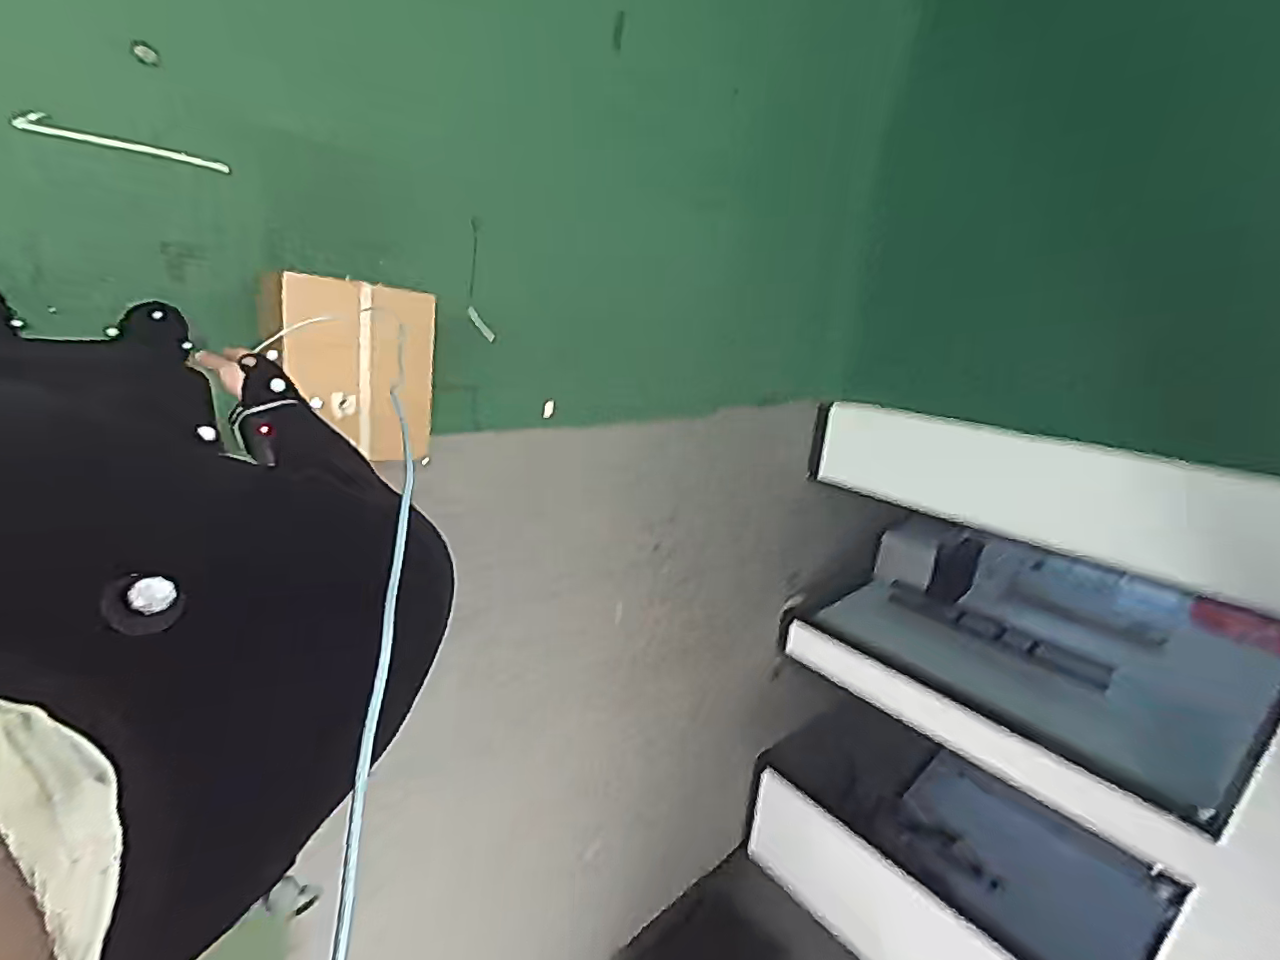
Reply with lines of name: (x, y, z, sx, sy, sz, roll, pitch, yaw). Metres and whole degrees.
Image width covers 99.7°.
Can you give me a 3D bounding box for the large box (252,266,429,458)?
large box: (-0.741, -0.293, 1.339, 0.320, 0.320, 0.408, -5, 111, -42)
